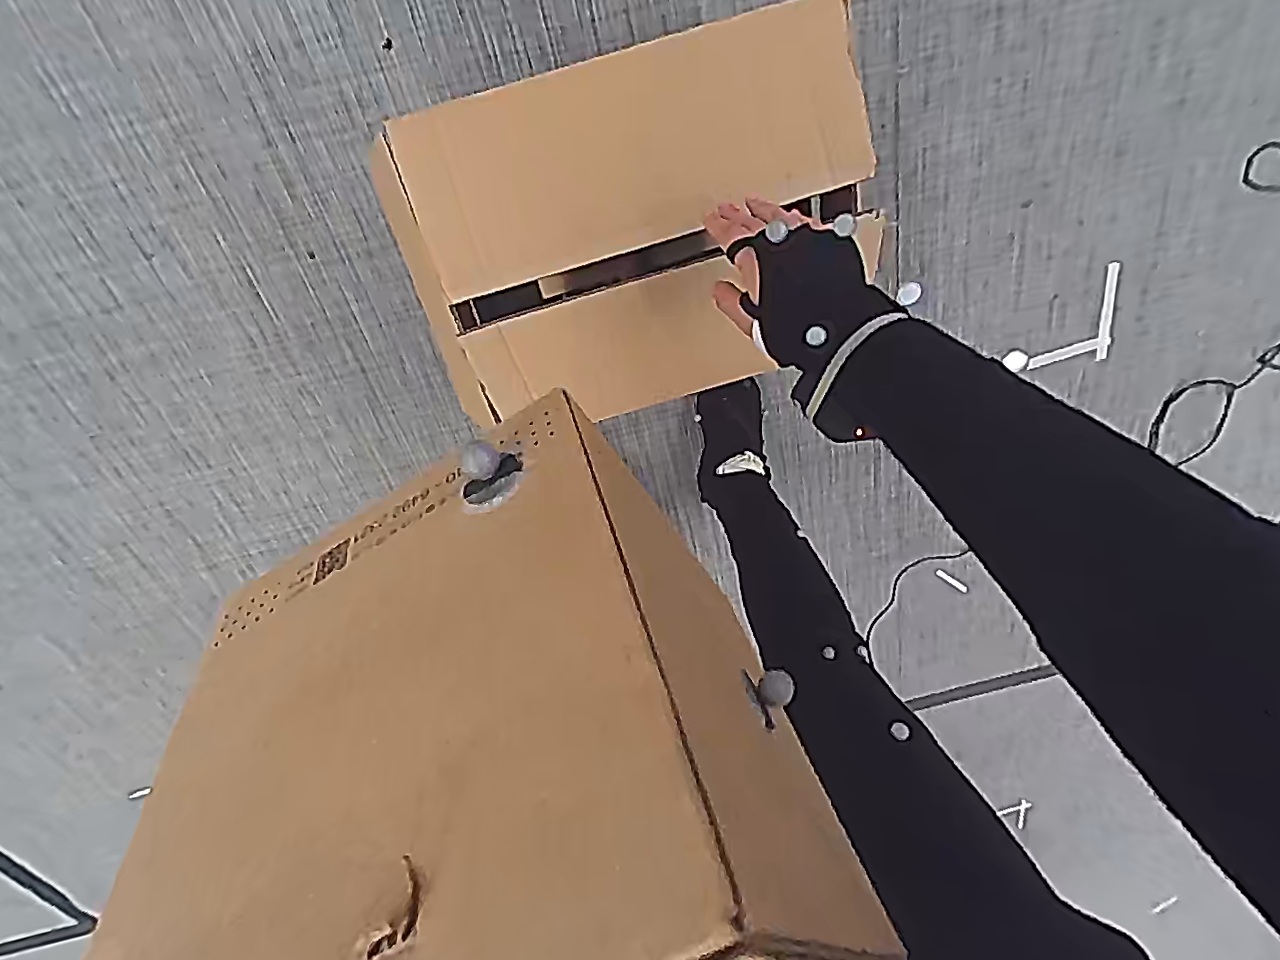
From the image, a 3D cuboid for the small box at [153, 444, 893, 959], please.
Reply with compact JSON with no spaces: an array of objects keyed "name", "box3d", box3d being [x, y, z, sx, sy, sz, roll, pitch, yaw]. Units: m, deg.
[{"name":"small box","box3d":[-0.037,0.109,0.210,0.168,0.176,0.179,-31,132,7]}]
